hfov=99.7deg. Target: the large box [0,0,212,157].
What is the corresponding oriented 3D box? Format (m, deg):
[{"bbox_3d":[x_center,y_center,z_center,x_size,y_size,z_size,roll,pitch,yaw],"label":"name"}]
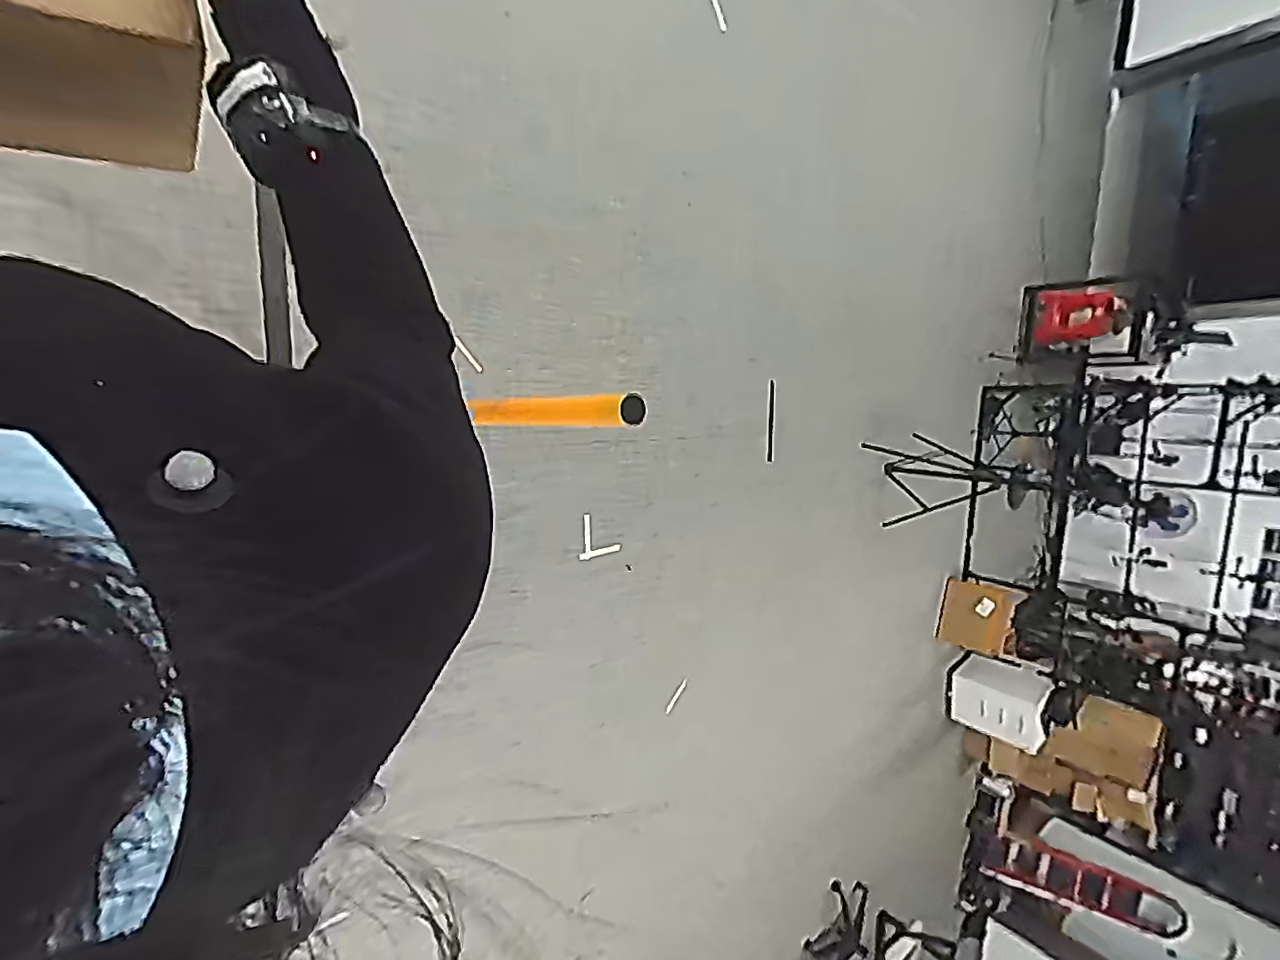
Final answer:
[{"bbox_3d":[-0.560,-0.443,0.340,0.408,0.320,0.320,-13,107,-39],"label":"large box"}]
